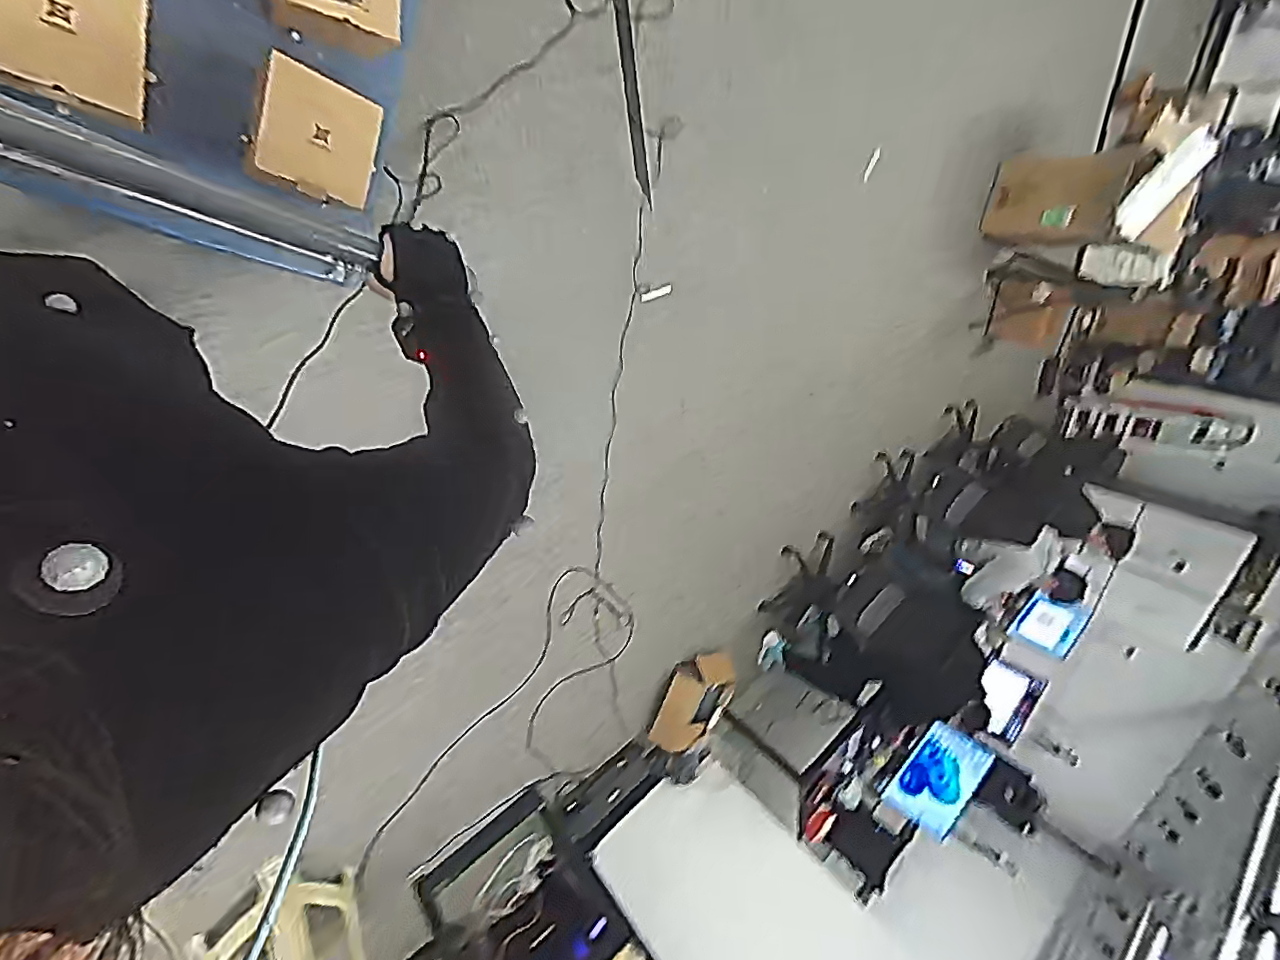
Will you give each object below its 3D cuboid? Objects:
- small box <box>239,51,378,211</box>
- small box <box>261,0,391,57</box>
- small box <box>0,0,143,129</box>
[{"bbox_3d":[-0.587,-0.596,0.952,0.168,0.176,0.179,7,105,-45],"label":"small box"},{"bbox_3d":[-0.520,-0.838,0.890,0.168,0.176,0.179,-9,116,-40],"label":"small box"},{"bbox_3d":[-0.800,-0.613,0.744,0.168,0.176,0.179,1,110,-44],"label":"small box"}]
